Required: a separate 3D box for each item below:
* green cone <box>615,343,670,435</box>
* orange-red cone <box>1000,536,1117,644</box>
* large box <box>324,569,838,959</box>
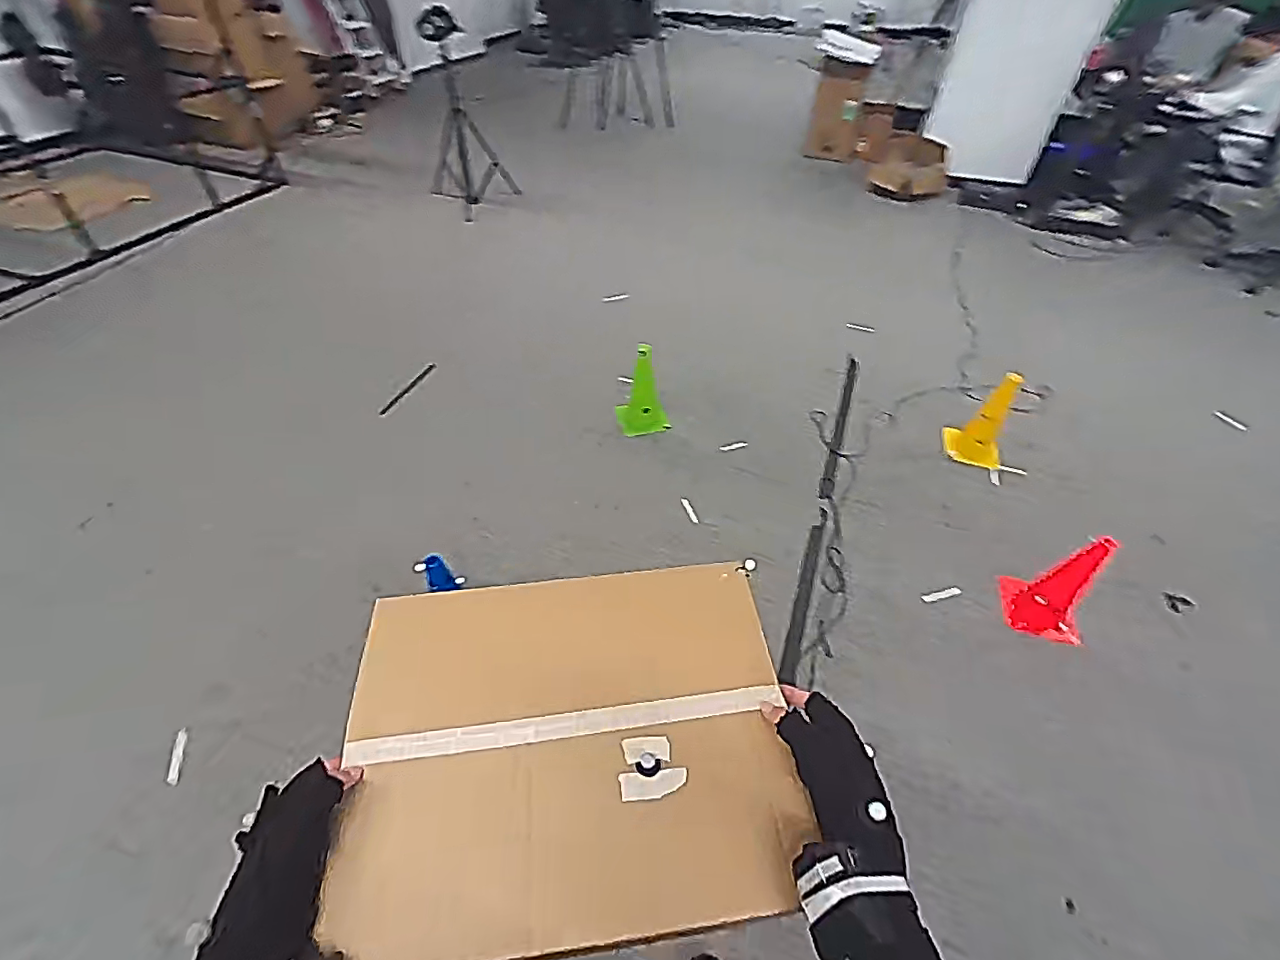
[{"bbox_3d":[0.008,-0.389,2.182,0.202,0.368,0.200,-12,47,-11],"label":"green cone"},{"bbox_3d":[1.250,0.285,1.574,0.198,0.360,0.199,15,46,11],"label":"orange-red cone"},{"bbox_3d":[-0.058,0.330,0.619,0.408,0.320,0.320,-4,49,-5],"label":"large box"}]
